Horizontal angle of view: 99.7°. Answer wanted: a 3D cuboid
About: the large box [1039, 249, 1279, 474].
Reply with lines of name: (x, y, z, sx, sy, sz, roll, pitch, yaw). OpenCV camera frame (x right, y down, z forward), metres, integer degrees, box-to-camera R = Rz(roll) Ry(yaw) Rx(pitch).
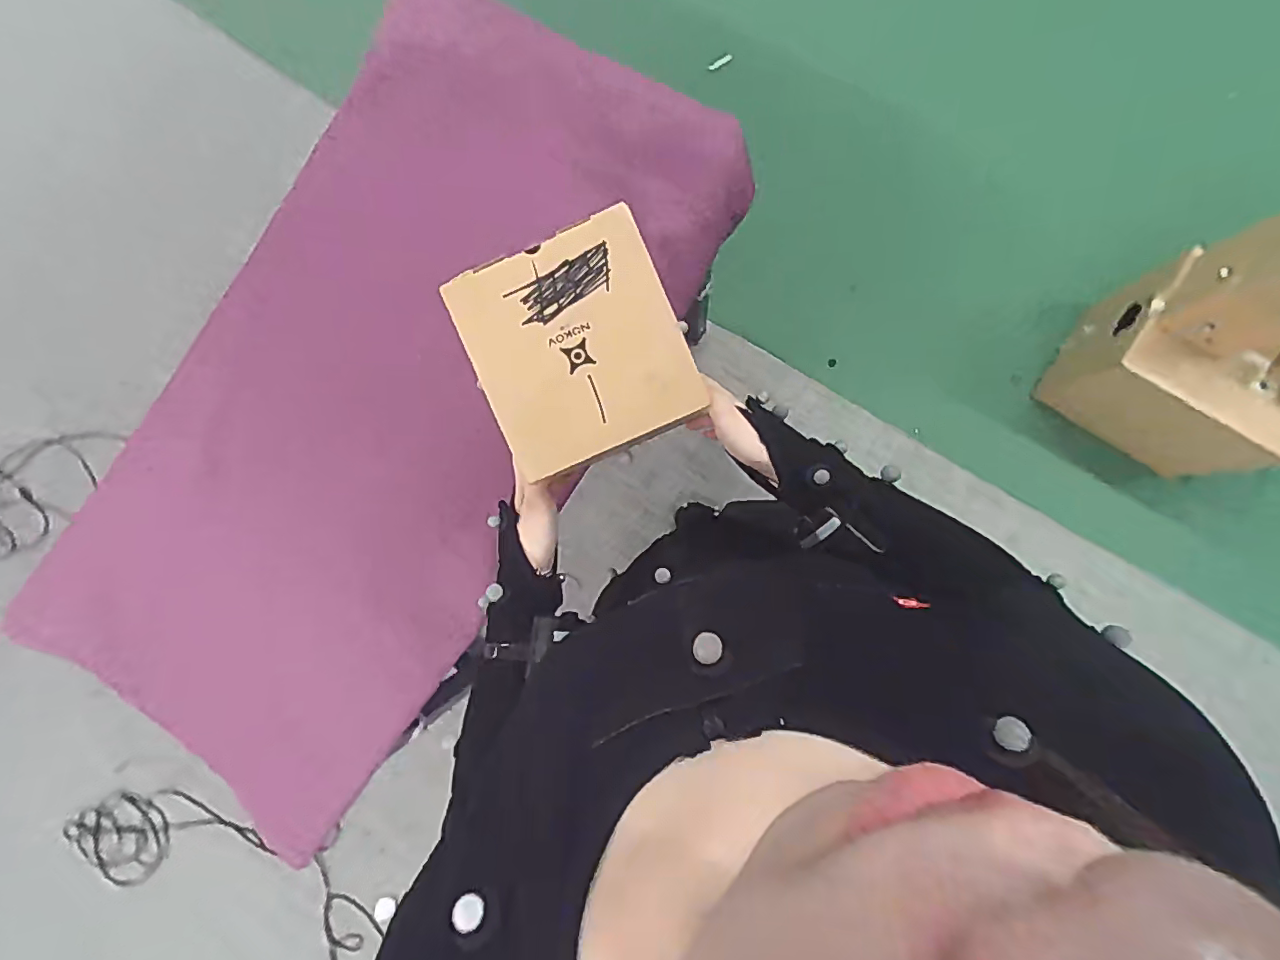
large box: (1.292, -0.255, 1.280, 0.408, 0.320, 0.320, 33, 89, 6)

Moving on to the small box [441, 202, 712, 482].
small box: (-0.048, -0.108, 0.498, 0.168, 0.176, 0.179, -23, 92, 4)

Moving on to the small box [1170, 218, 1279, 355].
small box: (1.211, -0.375, 1.053, 0.168, 0.176, 0.179, 33, 89, 6)
